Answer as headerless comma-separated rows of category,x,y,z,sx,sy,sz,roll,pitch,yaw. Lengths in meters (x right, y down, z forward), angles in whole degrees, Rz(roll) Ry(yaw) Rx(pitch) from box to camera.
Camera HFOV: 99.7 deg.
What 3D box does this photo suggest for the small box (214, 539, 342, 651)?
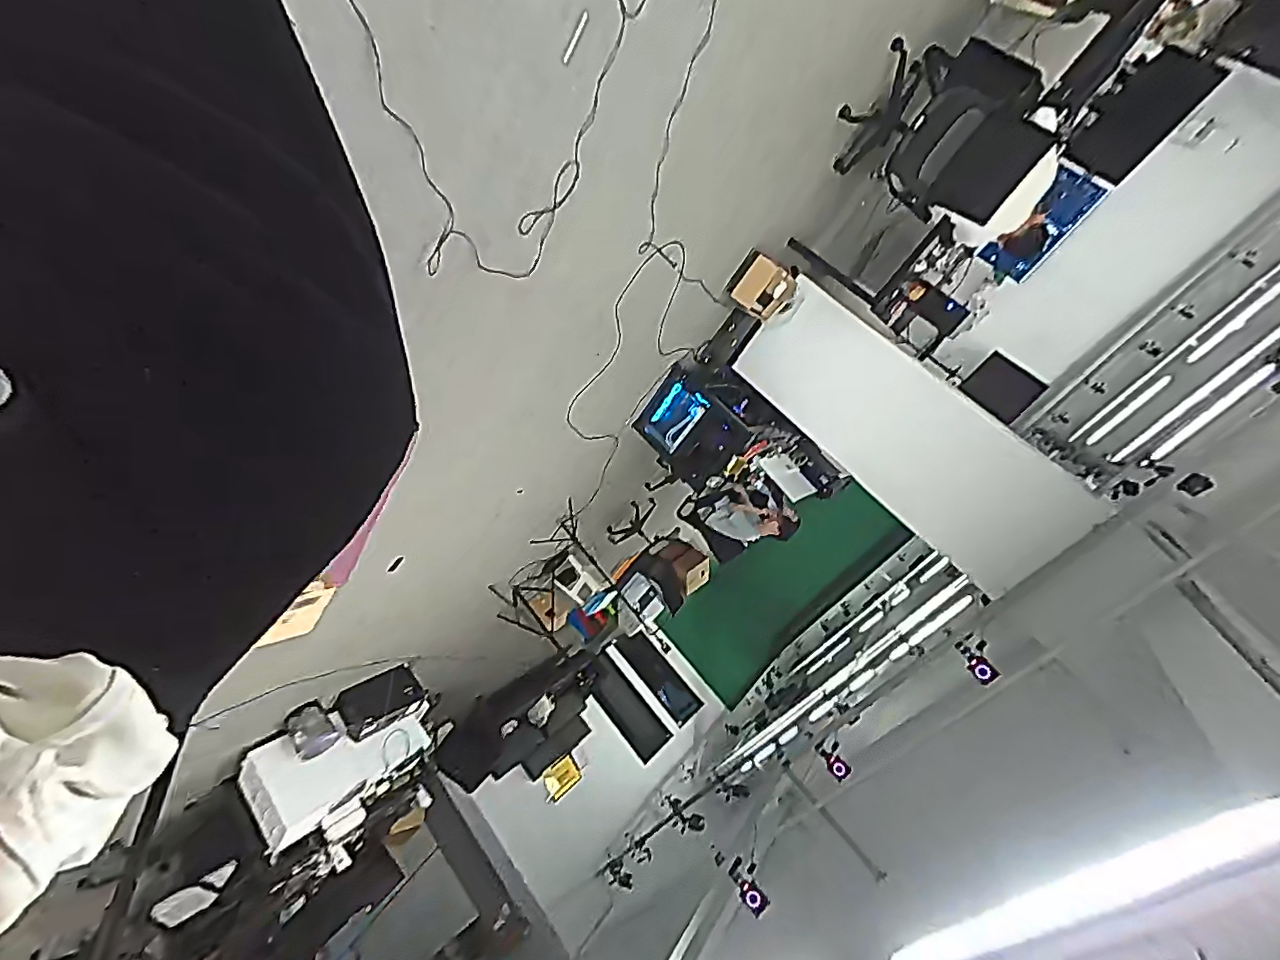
small box,-0.825,0.248,1.228,0.179,0.176,0.168,-51,160,21
